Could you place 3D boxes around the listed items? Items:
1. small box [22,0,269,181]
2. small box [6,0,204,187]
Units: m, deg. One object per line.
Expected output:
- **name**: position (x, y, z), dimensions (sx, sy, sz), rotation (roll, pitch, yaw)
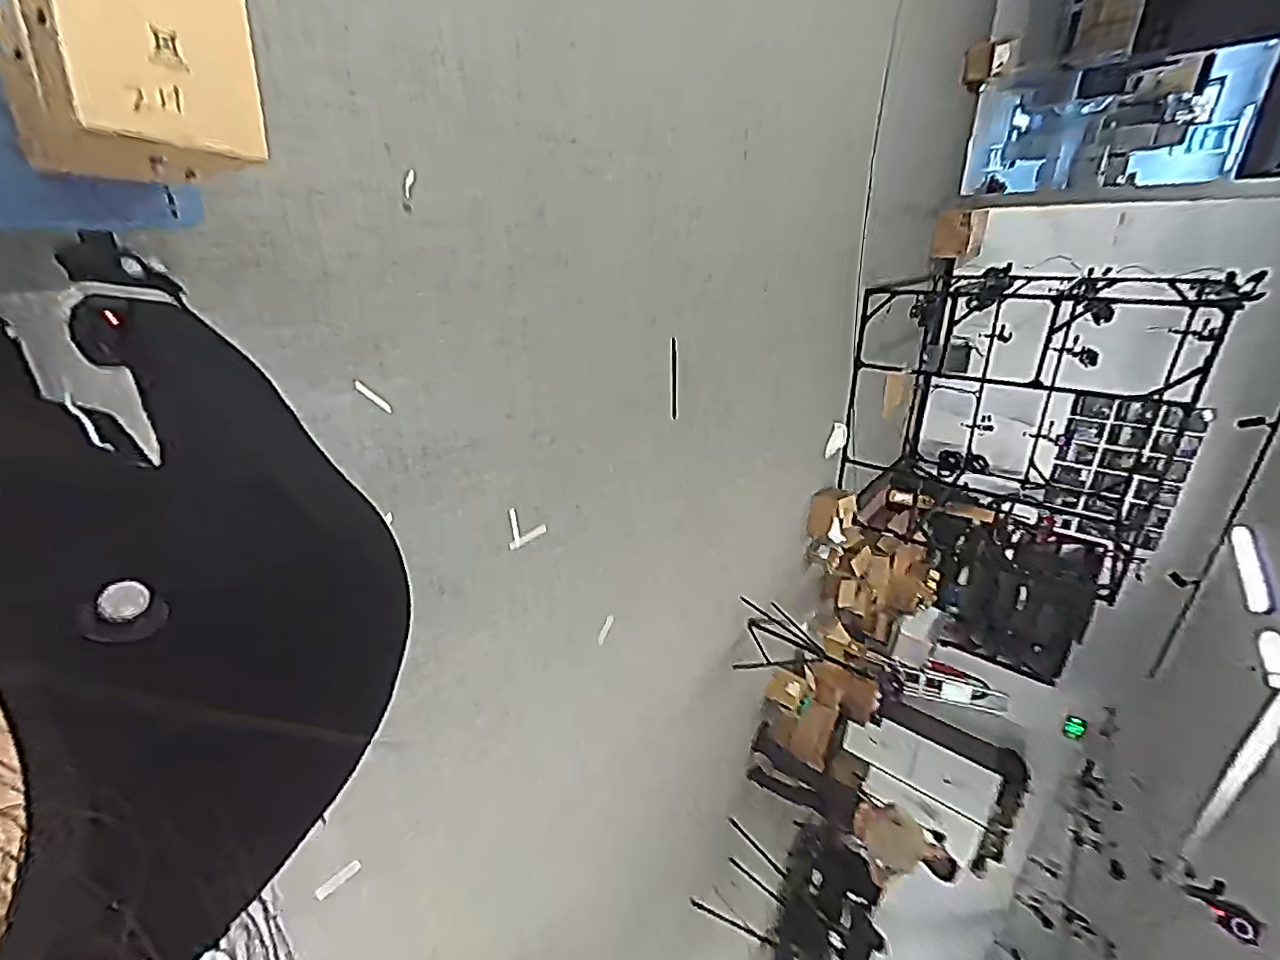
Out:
- **small box**: position (-0.561, -0.461, 0.619), dimensions (0.168, 0.176, 0.179), rotation (-19, 118, -48)
- **small box**: position (-0.688, -0.497, 0.717), dimensions (0.179, 0.176, 0.168), rotation (-21, 120, -48)
